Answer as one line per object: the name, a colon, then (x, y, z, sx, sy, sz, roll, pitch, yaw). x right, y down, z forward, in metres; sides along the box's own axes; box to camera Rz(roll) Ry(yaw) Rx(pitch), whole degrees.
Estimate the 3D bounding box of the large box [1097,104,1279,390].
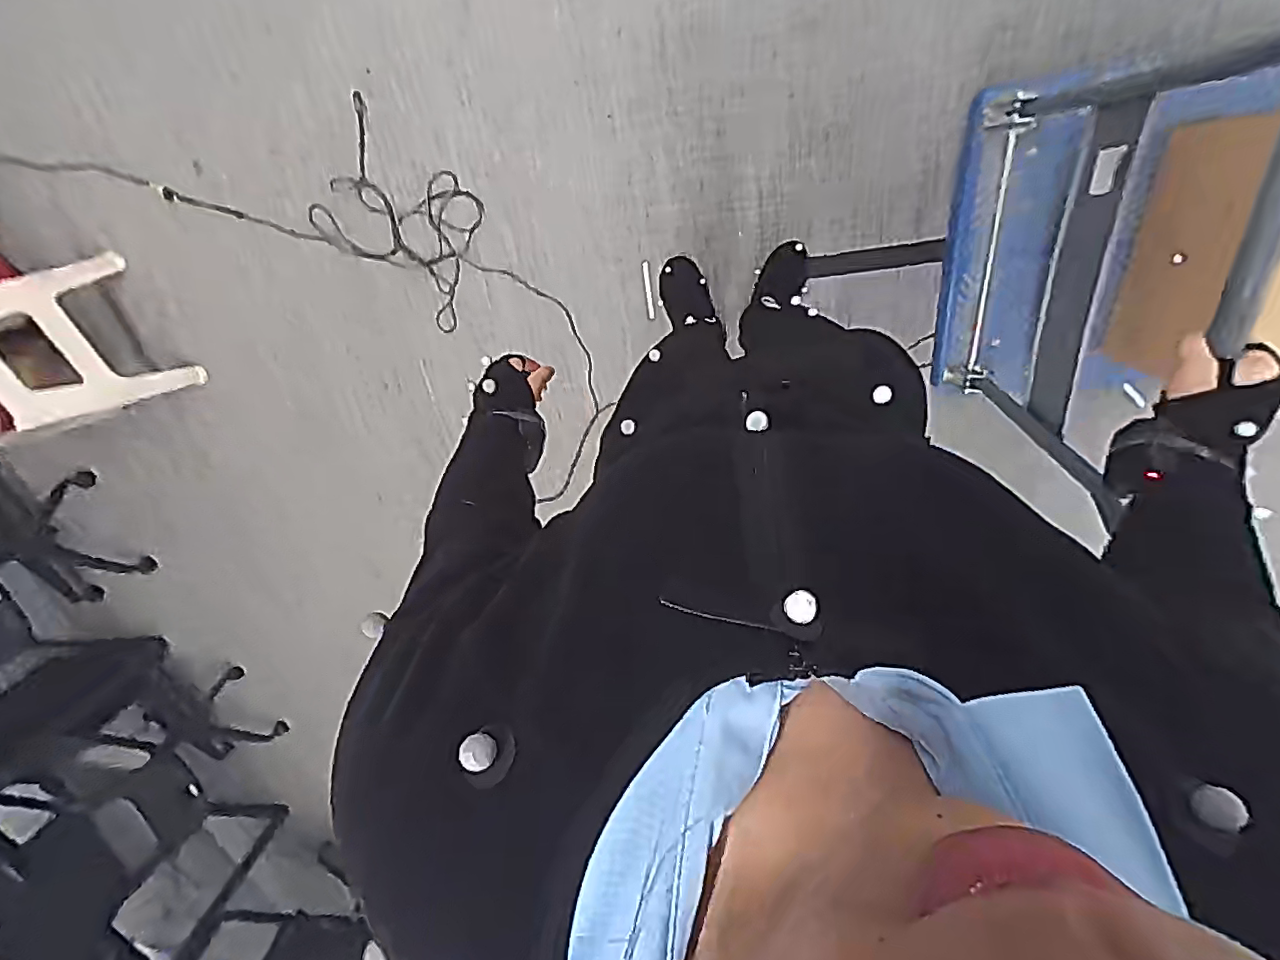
large box: (1.066, -0.394, 0.902, 0.320, 0.320, 0.408, -2, 117, 9)
